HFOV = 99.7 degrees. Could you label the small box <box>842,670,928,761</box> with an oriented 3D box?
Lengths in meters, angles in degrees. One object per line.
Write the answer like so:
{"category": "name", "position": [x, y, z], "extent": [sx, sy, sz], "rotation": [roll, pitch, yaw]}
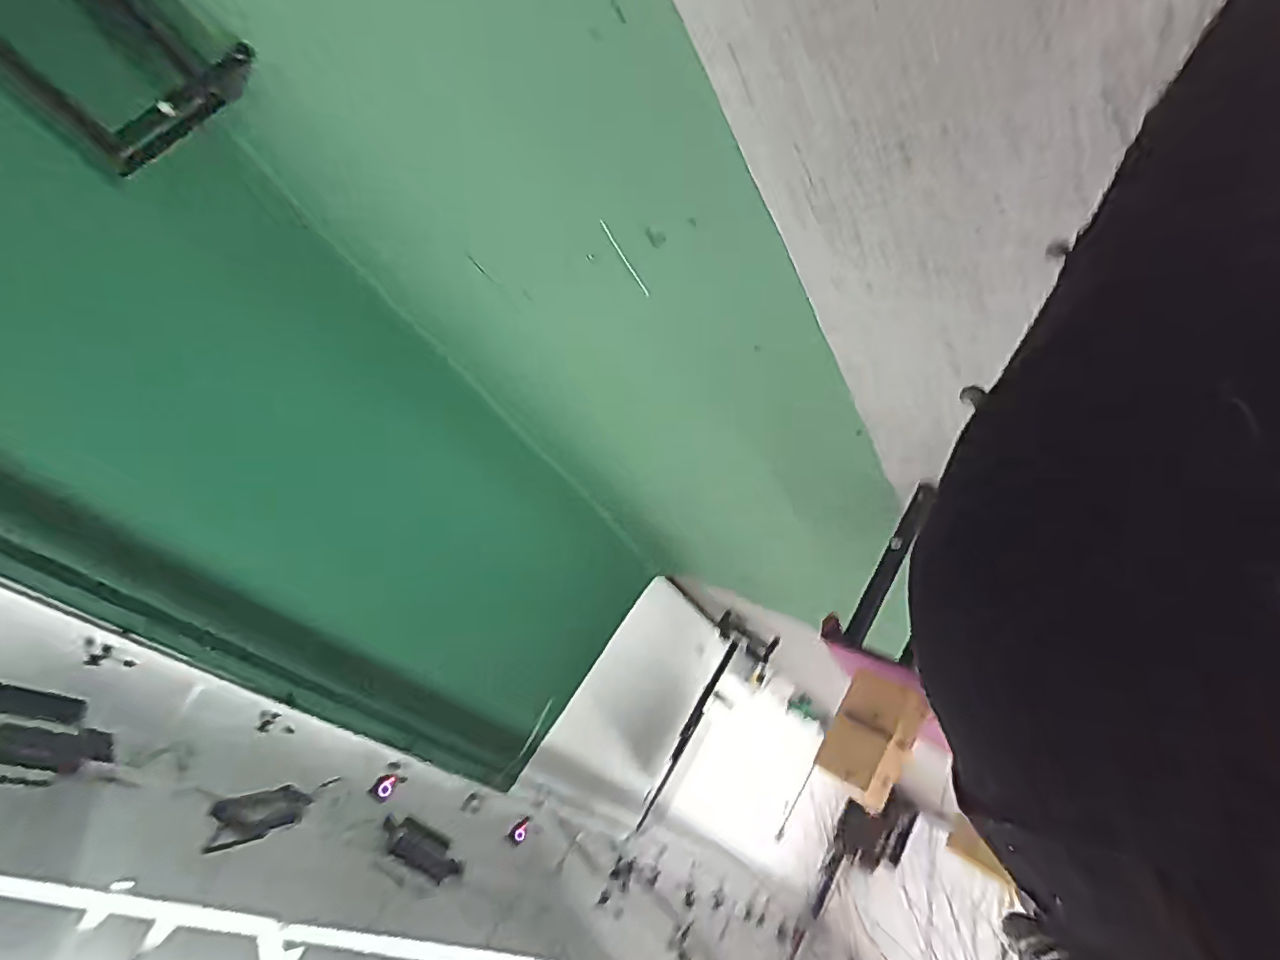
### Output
{"category": "small box", "position": [0.752, 0.710, 1.643], "extent": [0.179, 0.176, 0.168], "rotation": [13, 150, 50]}

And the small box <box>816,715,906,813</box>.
{"category": "small box", "position": [0.651, 0.825, 1.580], "extent": [0.168, 0.176, 0.179], "rotation": [14, 152, 48]}

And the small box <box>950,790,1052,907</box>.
{"category": "small box", "position": [0.898, 0.907, 1.342], "extent": [0.168, 0.176, 0.179], "rotation": [17, 154, 46]}
